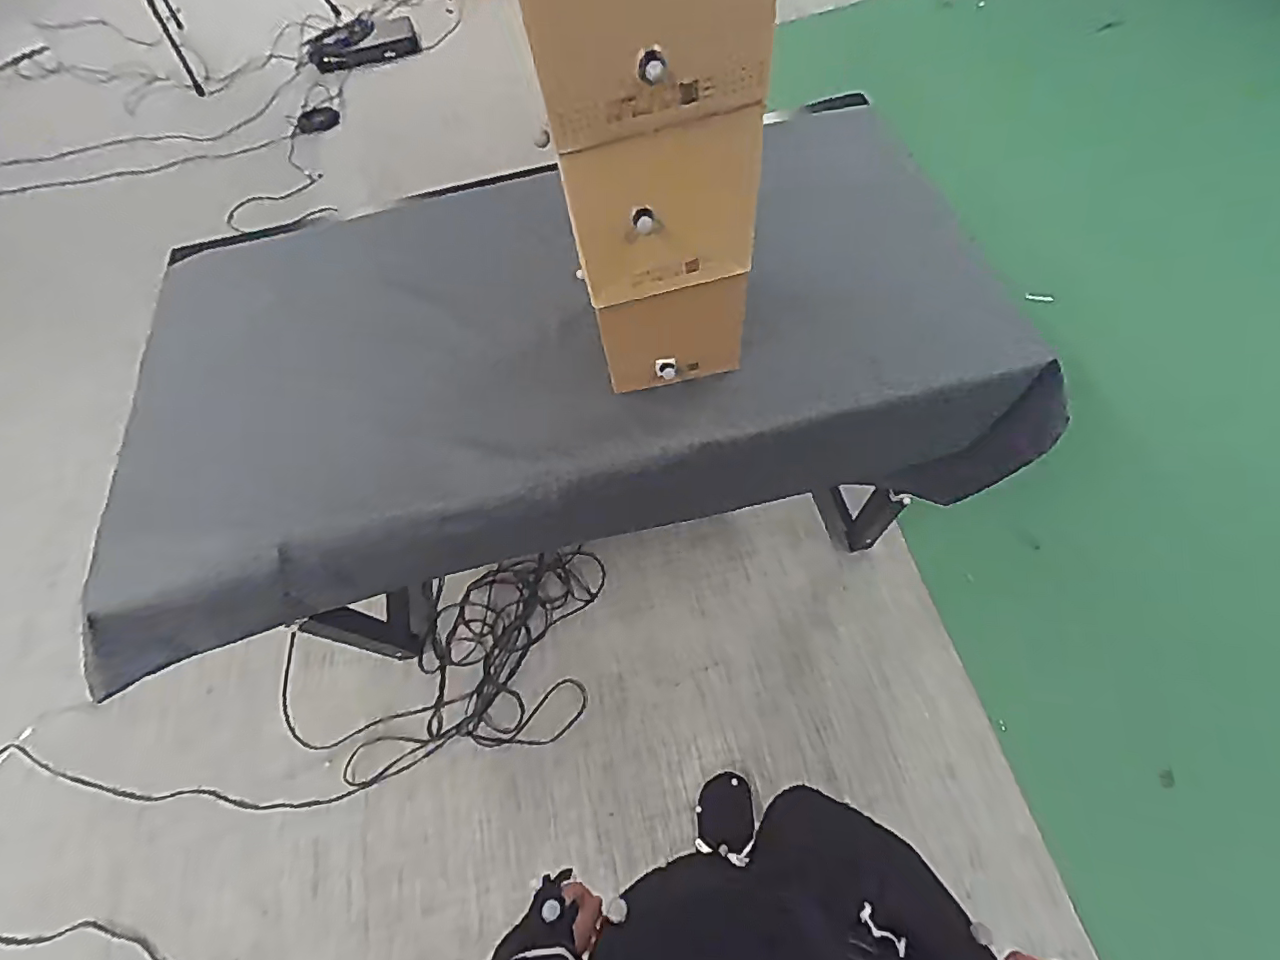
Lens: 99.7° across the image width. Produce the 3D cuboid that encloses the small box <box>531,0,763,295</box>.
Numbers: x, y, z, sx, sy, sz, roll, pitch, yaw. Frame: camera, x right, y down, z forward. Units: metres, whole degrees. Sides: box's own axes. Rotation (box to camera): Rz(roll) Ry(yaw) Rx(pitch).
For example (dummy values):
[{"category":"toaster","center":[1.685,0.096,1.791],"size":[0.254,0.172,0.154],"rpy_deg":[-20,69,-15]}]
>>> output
[{"category":"small box","center":[0.009,-0.300,0.513],"size":[0.168,0.176,0.179],"rpy_deg":[-14,62,0]}]

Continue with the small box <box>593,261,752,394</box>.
[{"category":"small box","center":[0.028,-0.235,0.662],"size":[0.168,0.176,0.179],"rpy_deg":[-13,63,0]}]
